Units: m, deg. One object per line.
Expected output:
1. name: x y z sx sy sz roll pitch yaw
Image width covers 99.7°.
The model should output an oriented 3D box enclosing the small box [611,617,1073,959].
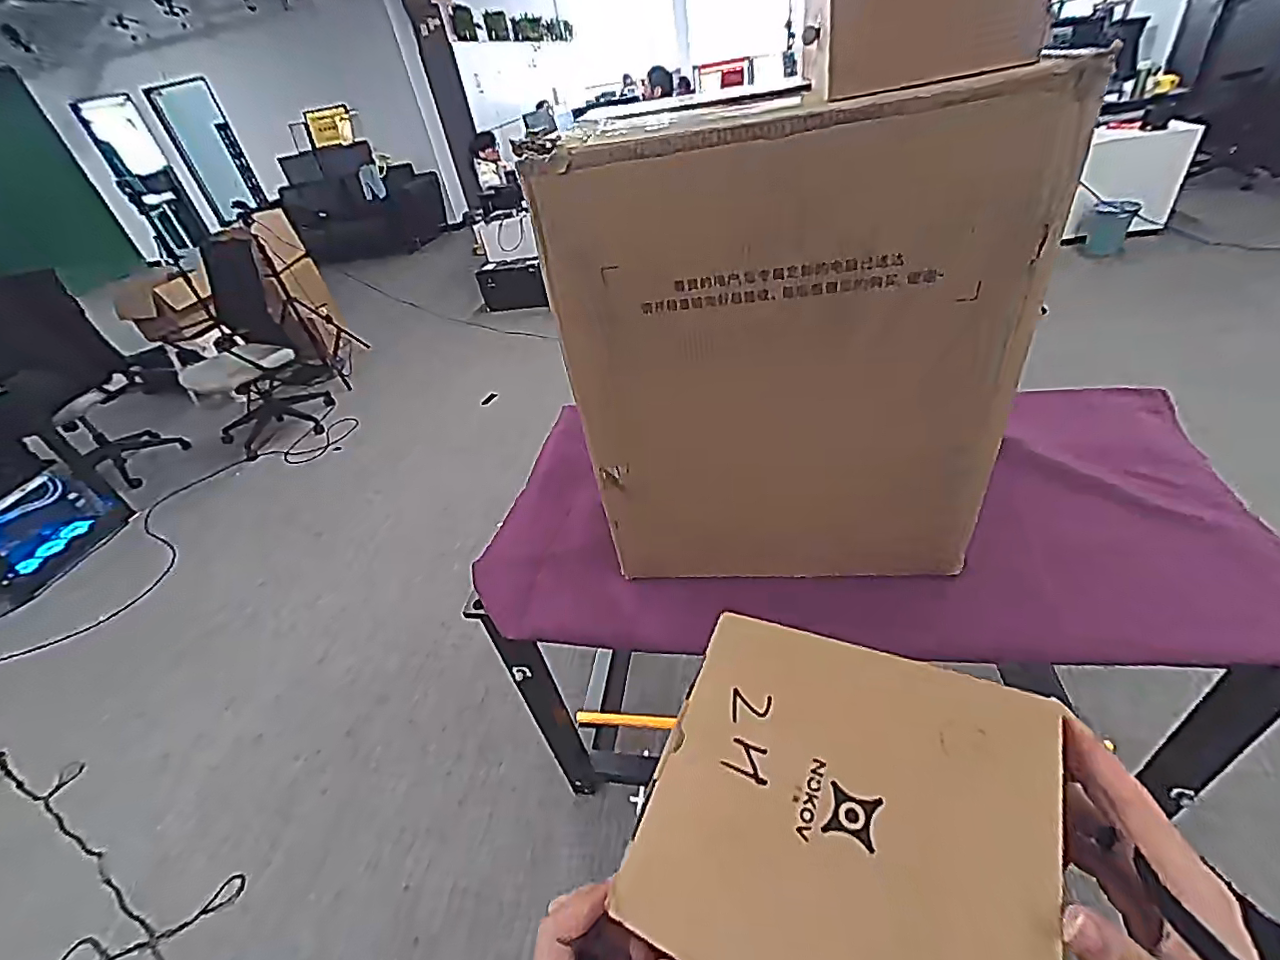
1. small box: 0.116 0.210 0.308 0.179 0.176 0.168 9 50 30
